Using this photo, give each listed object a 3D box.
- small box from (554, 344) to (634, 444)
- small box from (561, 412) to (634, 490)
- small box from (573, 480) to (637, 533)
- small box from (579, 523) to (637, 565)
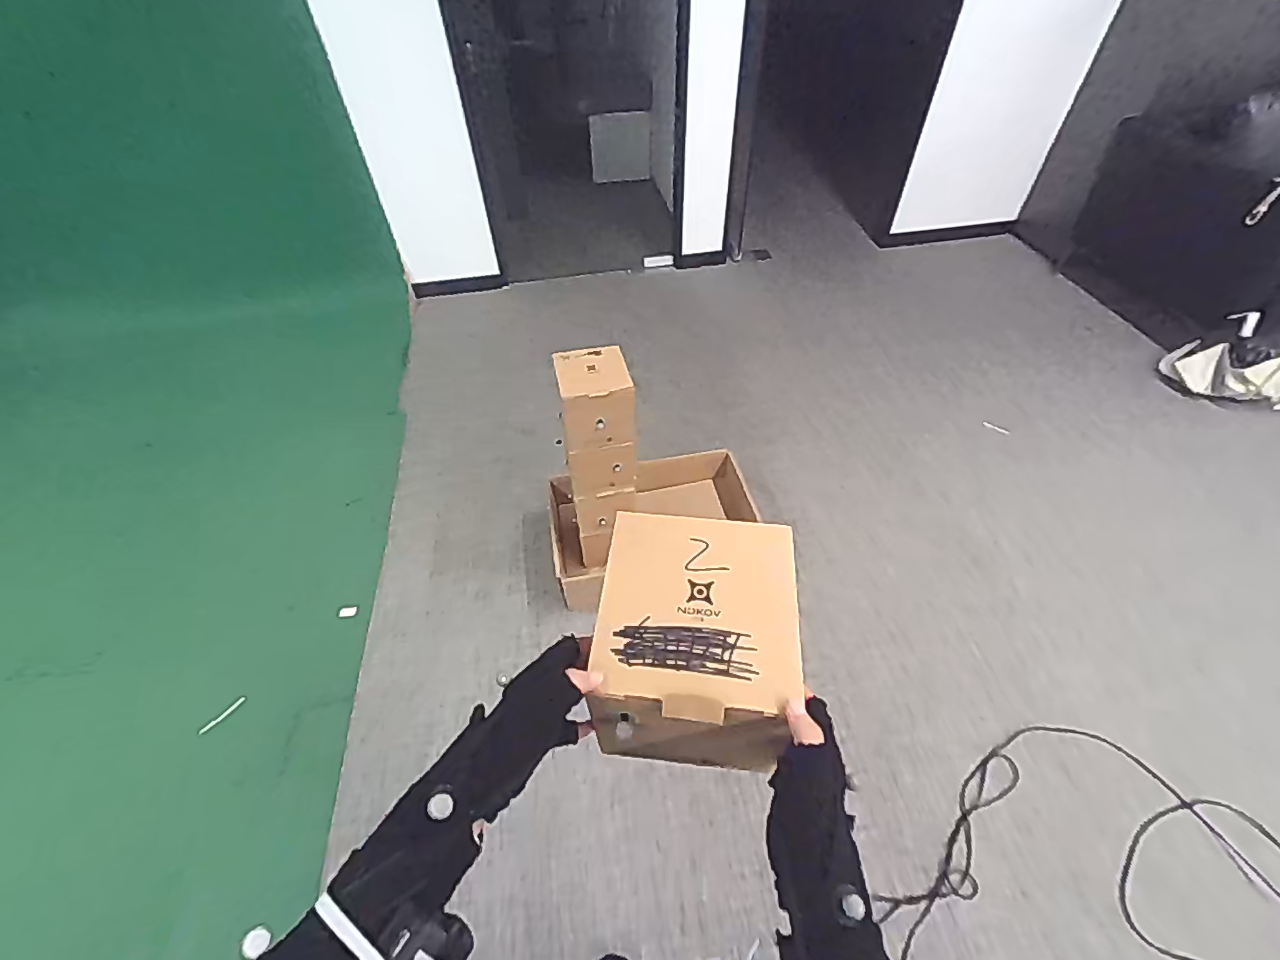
[{"bbox_3d":[-0.109,-0.201,1.301,0.168,0.176,0.179,-9,49,-9],"label":"small box"},{"bbox_3d":[-0.109,-0.088,1.420,0.168,0.176,0.179,-9,48,-9],"label":"small box"},{"bbox_3d":[-0.105,0.026,1.537,0.168,0.176,0.179,-8,48,-7],"label":"small box"},{"bbox_3d":[-0.104,0.137,1.657,0.168,0.176,0.179,-8,48,-6],"label":"small box"}]
